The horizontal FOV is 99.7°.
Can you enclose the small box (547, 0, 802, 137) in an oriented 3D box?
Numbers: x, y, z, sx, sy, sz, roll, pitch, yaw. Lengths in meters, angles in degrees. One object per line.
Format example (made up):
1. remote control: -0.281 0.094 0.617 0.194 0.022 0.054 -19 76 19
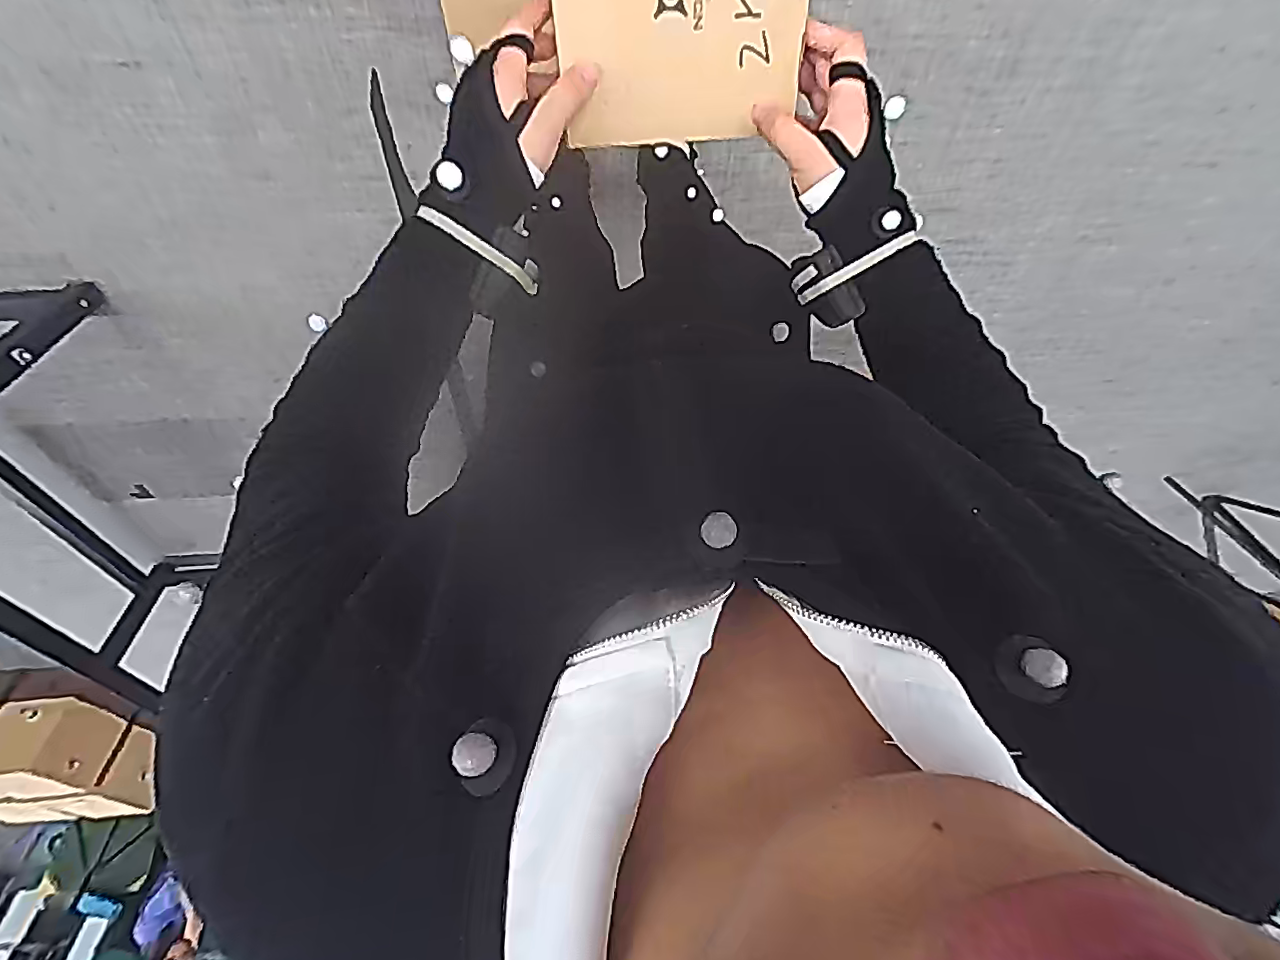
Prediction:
1. small box: 0.018 -0.379 0.422 0.179 0.176 0.168 -5 132 -3
